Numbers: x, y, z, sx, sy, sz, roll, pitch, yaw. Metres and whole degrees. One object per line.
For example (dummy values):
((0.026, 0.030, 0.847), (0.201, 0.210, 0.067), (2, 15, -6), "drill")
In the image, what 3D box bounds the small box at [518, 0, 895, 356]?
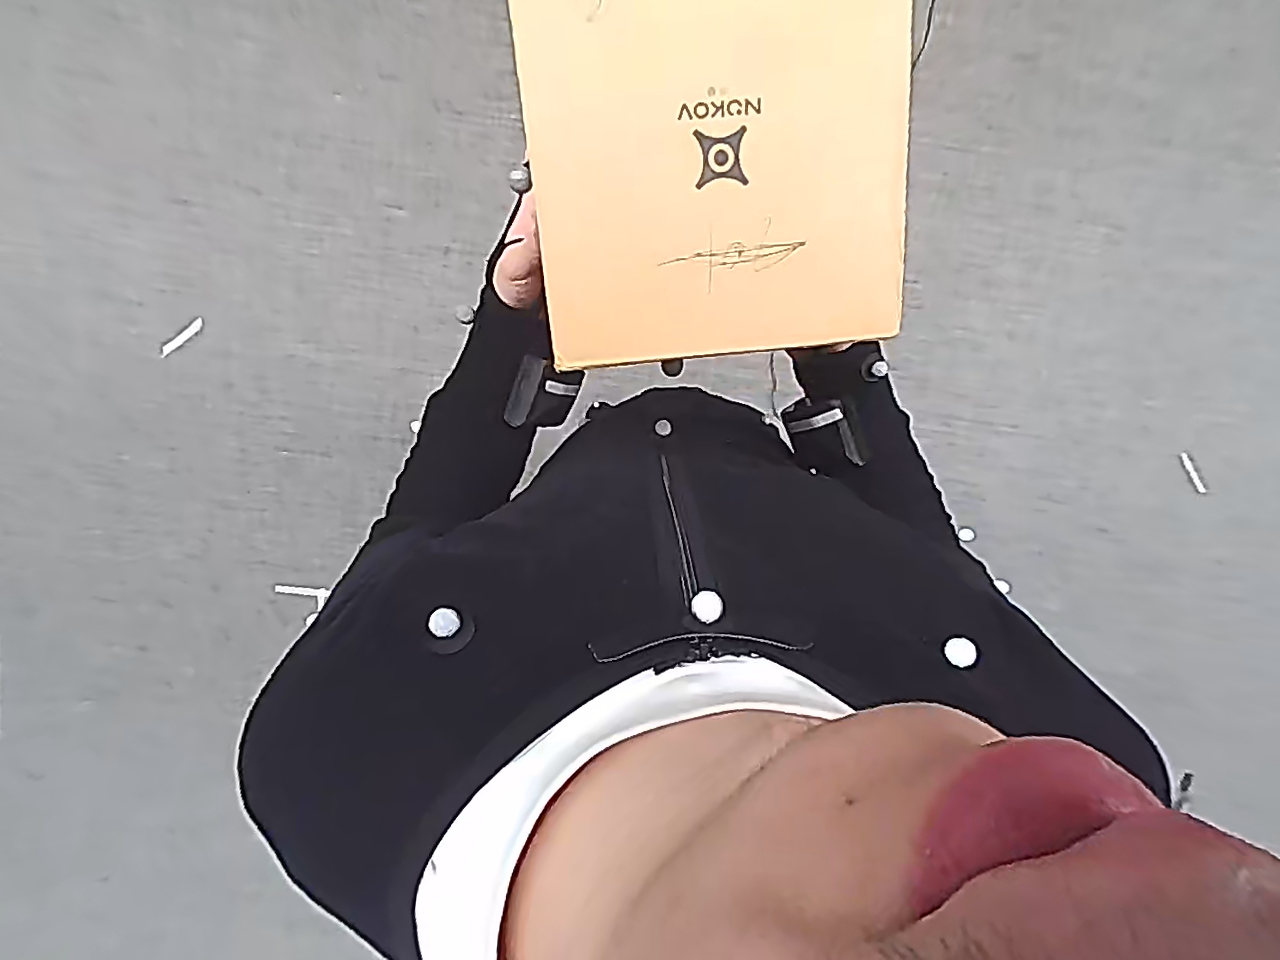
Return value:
((0.027, -0.169, 0.321), (0.168, 0.176, 0.179), (-5, 106, -3), "small box")
